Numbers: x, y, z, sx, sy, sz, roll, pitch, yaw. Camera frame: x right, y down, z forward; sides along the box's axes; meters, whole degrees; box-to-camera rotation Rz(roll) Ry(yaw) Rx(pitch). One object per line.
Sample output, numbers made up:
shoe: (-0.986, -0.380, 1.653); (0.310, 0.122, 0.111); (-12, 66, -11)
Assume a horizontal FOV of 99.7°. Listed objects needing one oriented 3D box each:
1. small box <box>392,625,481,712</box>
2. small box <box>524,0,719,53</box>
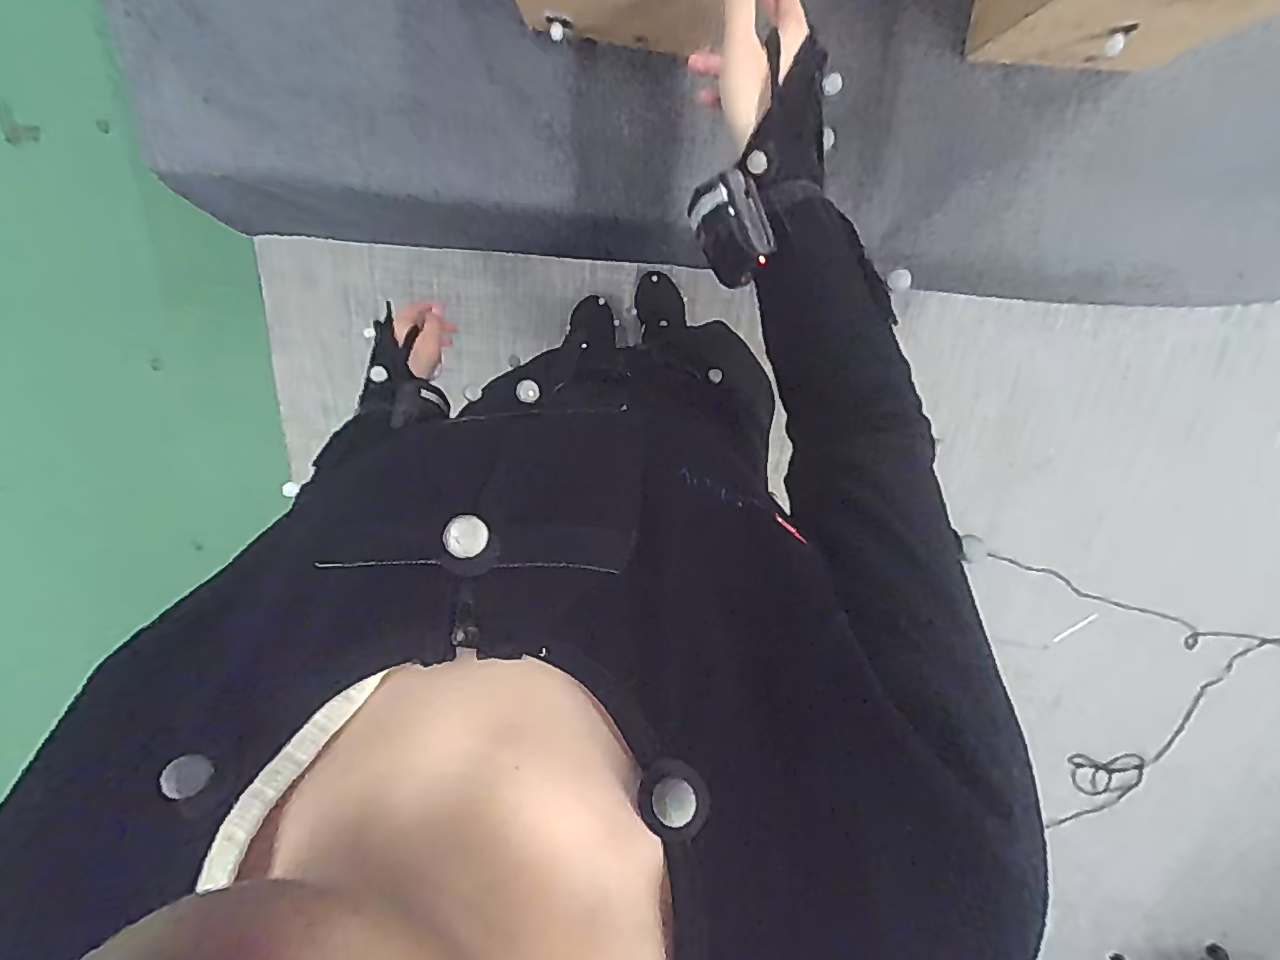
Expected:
small box: (-0.560, 0.520, 1.507); (0.179, 0.176, 0.168); (-1, 111, 0)
small box: (-0.009, -0.446, 0.385); (0.168, 0.176, 0.179); (7, 109, -3)
